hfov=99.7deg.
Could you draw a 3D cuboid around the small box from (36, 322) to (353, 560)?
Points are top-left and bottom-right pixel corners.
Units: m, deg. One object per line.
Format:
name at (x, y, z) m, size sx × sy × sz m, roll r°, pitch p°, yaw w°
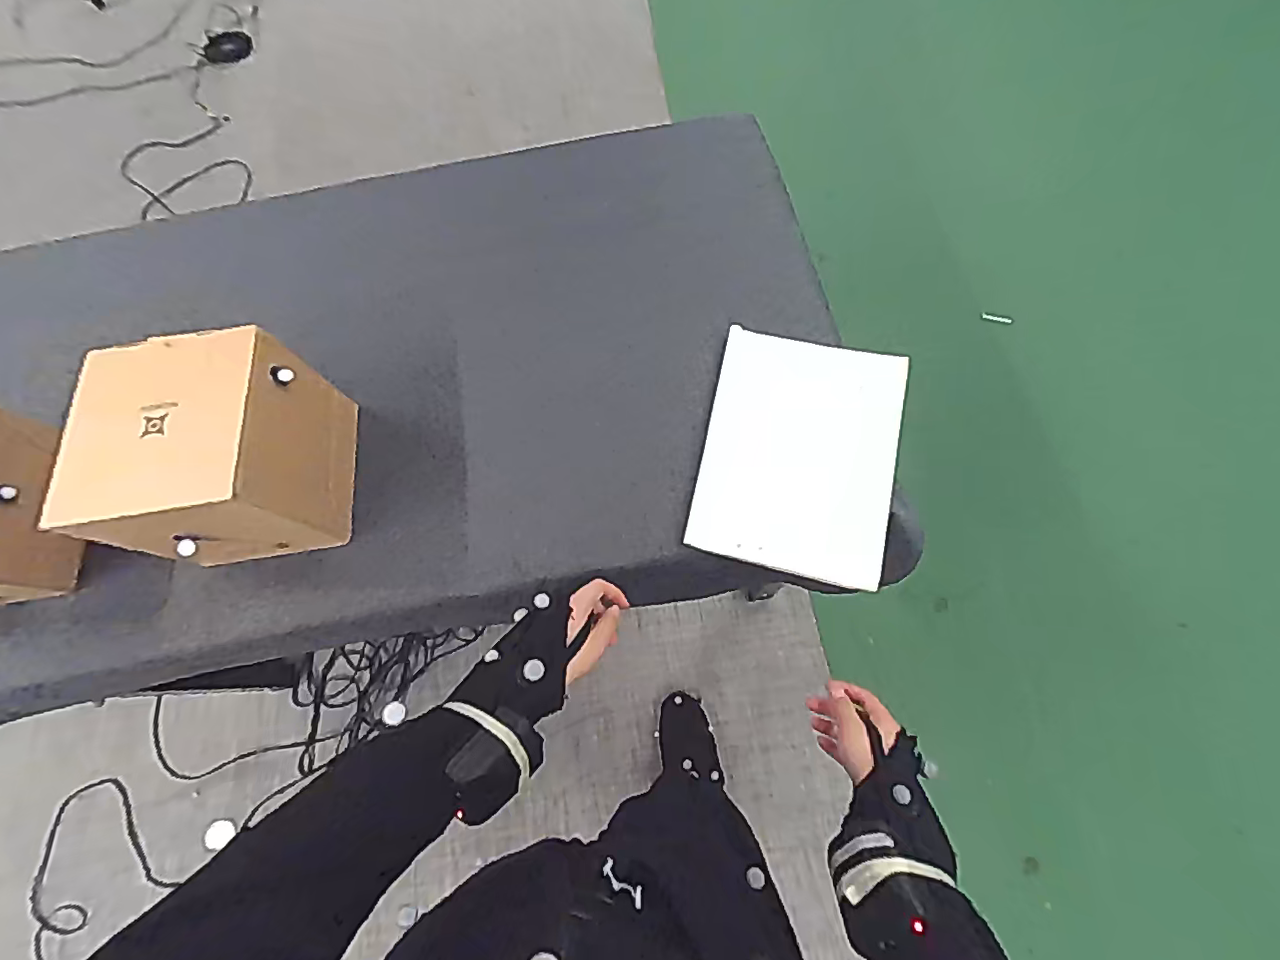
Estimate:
small box at (-0.412, -0.024, 0.538) m, size 0.168 × 0.176 × 0.179 m, roll -9°, pitch 69°, yaw 1°
